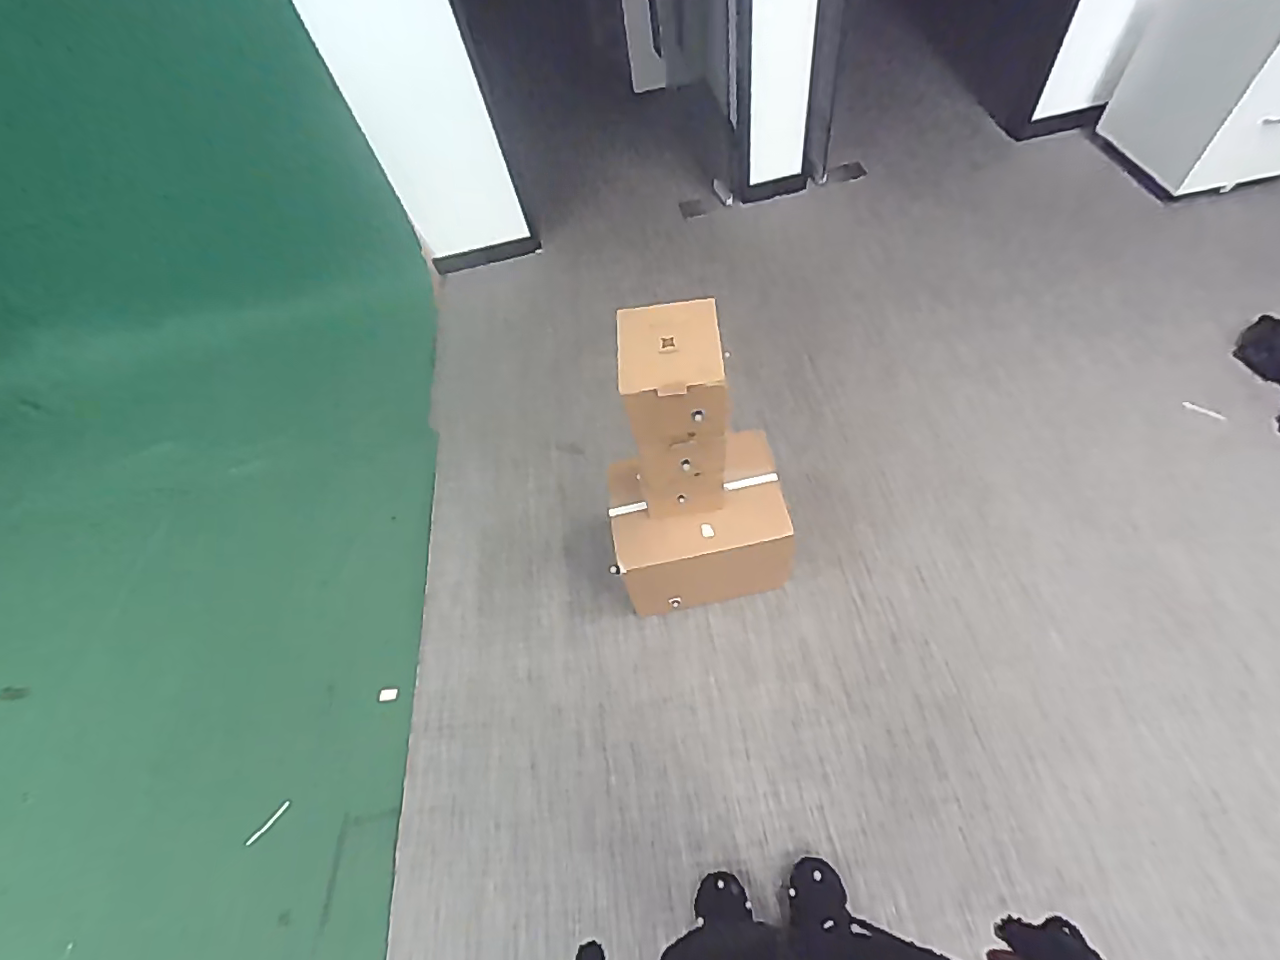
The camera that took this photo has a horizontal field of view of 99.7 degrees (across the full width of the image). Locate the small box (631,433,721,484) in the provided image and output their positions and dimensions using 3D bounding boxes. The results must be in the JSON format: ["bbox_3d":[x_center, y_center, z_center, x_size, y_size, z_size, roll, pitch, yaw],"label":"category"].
[{"bbox_3d":[0.066,-0.106,1.085,0.168,0.176,0.179,-12,62,2],"label":"small box"}]

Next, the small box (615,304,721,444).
[{"bbox_3d":[0.051,-0.174,0.938,0.168,0.176,0.179,-5,61,5],"label":"small box"}]

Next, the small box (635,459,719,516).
[{"bbox_3d":[0.084,-0.030,1.226,0.179,0.176,0.168,-5,61,6],"label":"small box"}]
